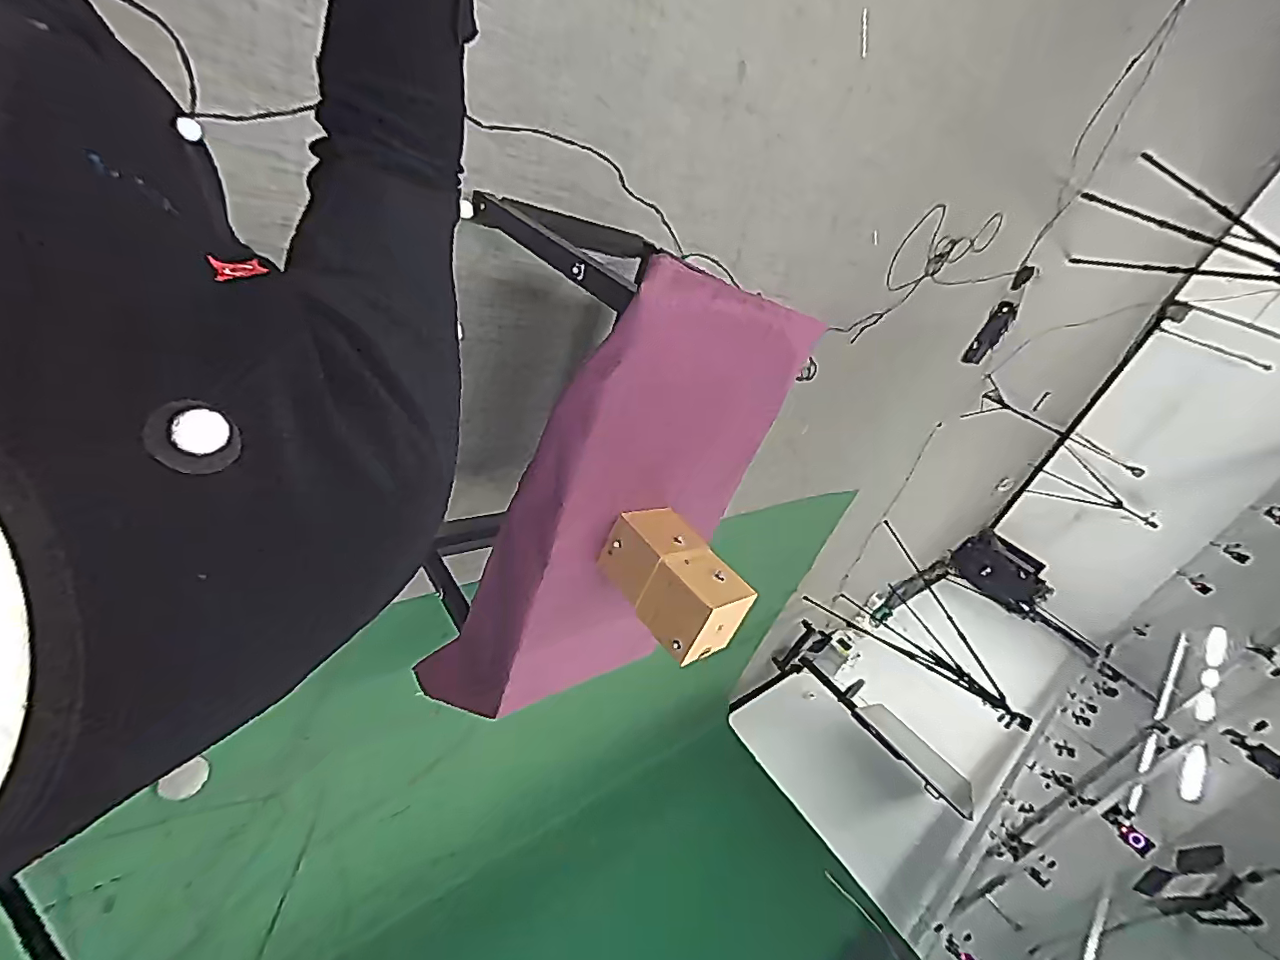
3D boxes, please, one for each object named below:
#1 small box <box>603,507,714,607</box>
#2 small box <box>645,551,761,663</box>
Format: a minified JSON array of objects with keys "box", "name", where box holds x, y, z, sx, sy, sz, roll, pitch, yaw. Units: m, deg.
[{"box":[0.043,0.180,1.327,0.179,0.176,0.168,-2,126,-44],"name":"small box"},{"box":[0.137,0.278,1.239,0.168,0.176,0.179,-5,128,-44],"name":"small box"}]
